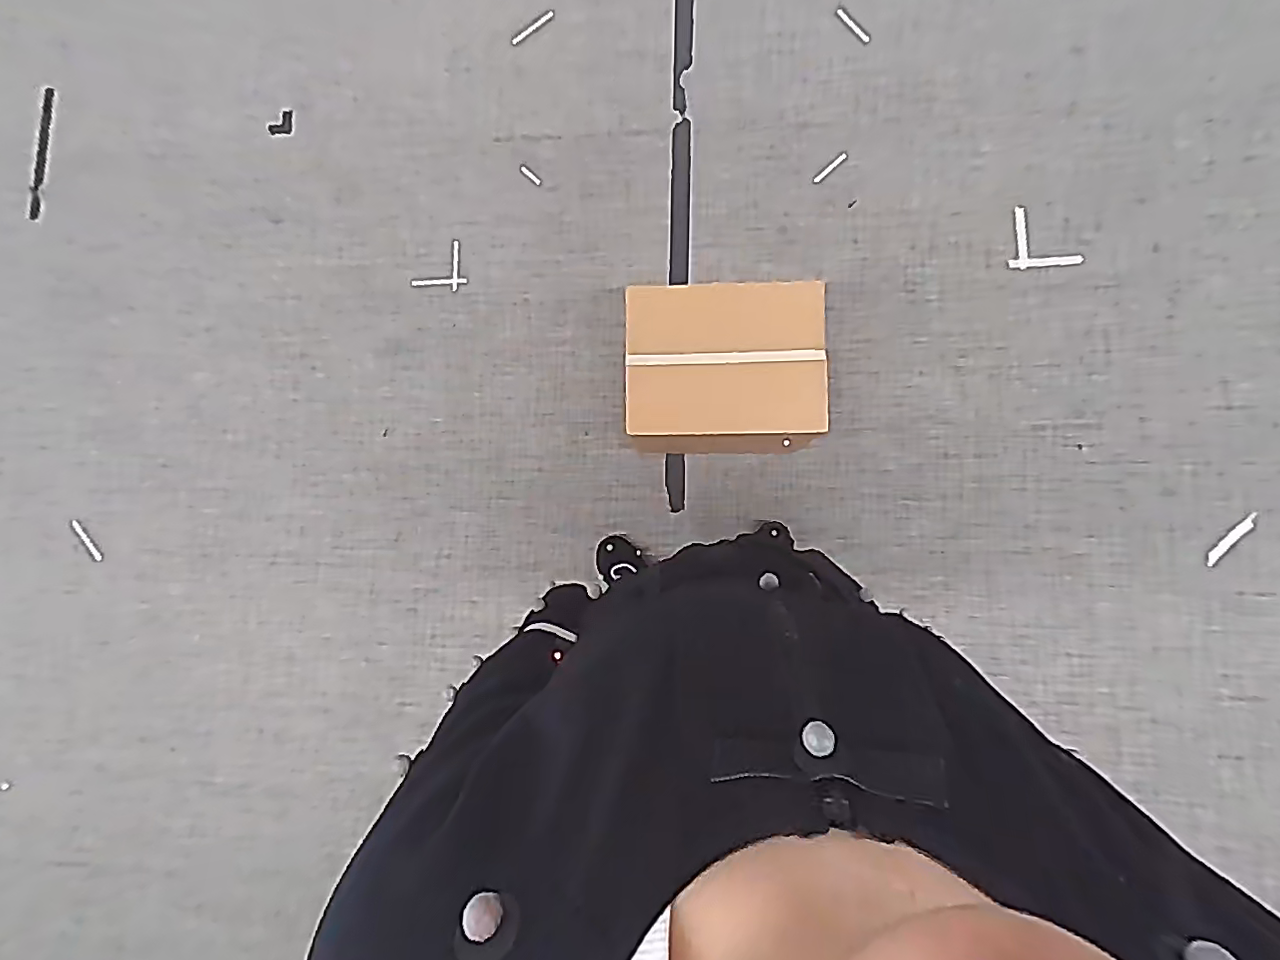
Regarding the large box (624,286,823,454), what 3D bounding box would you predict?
[{"bbox_3d":[0.179,-0.231,1.253,0.408,0.320,0.320,0,85,4],"label":"large box"}]
